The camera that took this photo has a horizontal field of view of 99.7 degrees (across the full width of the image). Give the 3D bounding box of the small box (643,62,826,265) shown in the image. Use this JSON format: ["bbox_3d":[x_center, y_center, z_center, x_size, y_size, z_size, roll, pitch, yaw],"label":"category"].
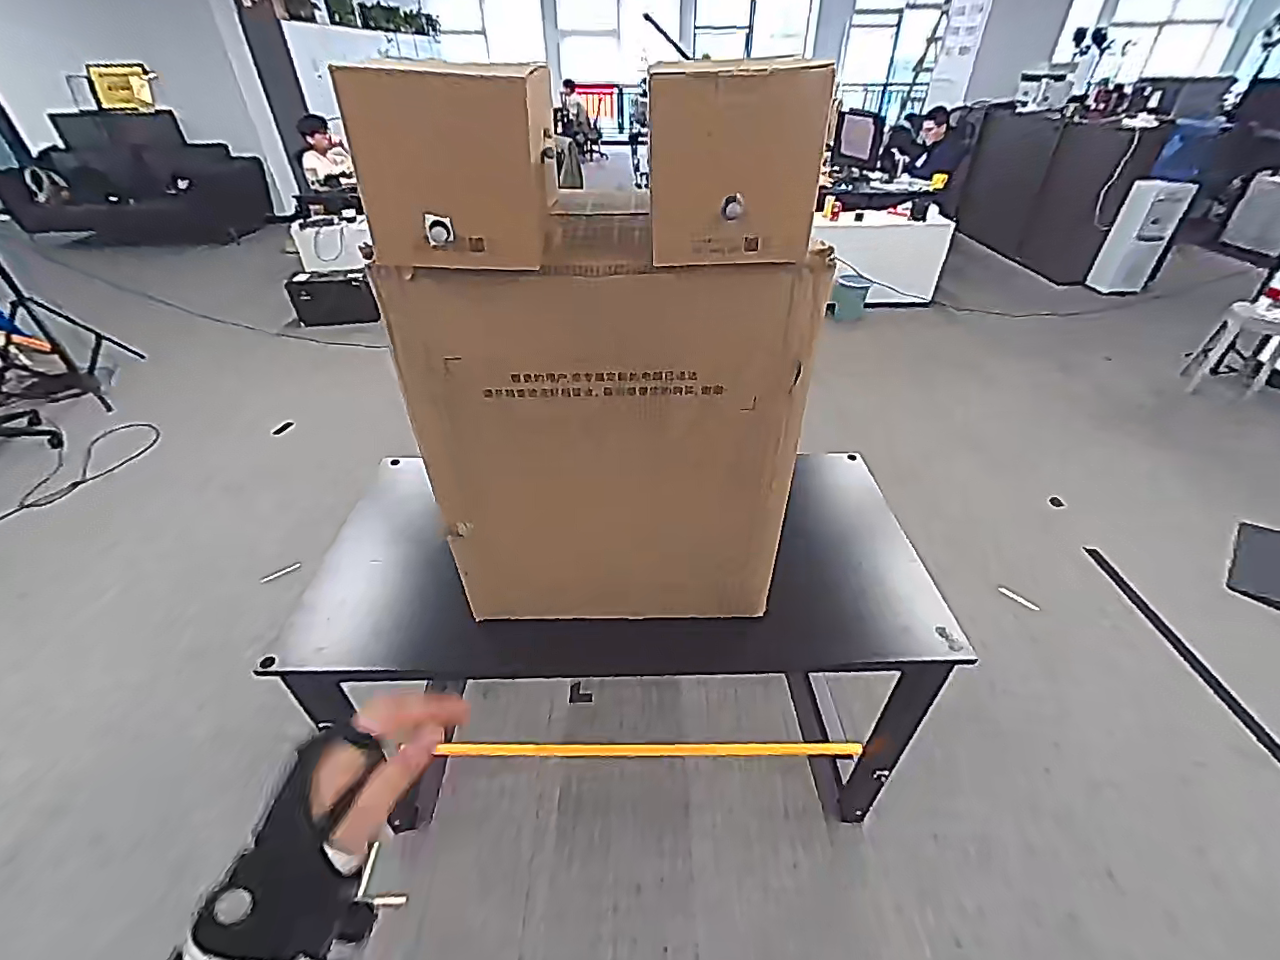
[{"bbox_3d":[0.088,-0.348,0.594,0.168,0.176,0.179,-2,40,2],"label":"small box"}]
